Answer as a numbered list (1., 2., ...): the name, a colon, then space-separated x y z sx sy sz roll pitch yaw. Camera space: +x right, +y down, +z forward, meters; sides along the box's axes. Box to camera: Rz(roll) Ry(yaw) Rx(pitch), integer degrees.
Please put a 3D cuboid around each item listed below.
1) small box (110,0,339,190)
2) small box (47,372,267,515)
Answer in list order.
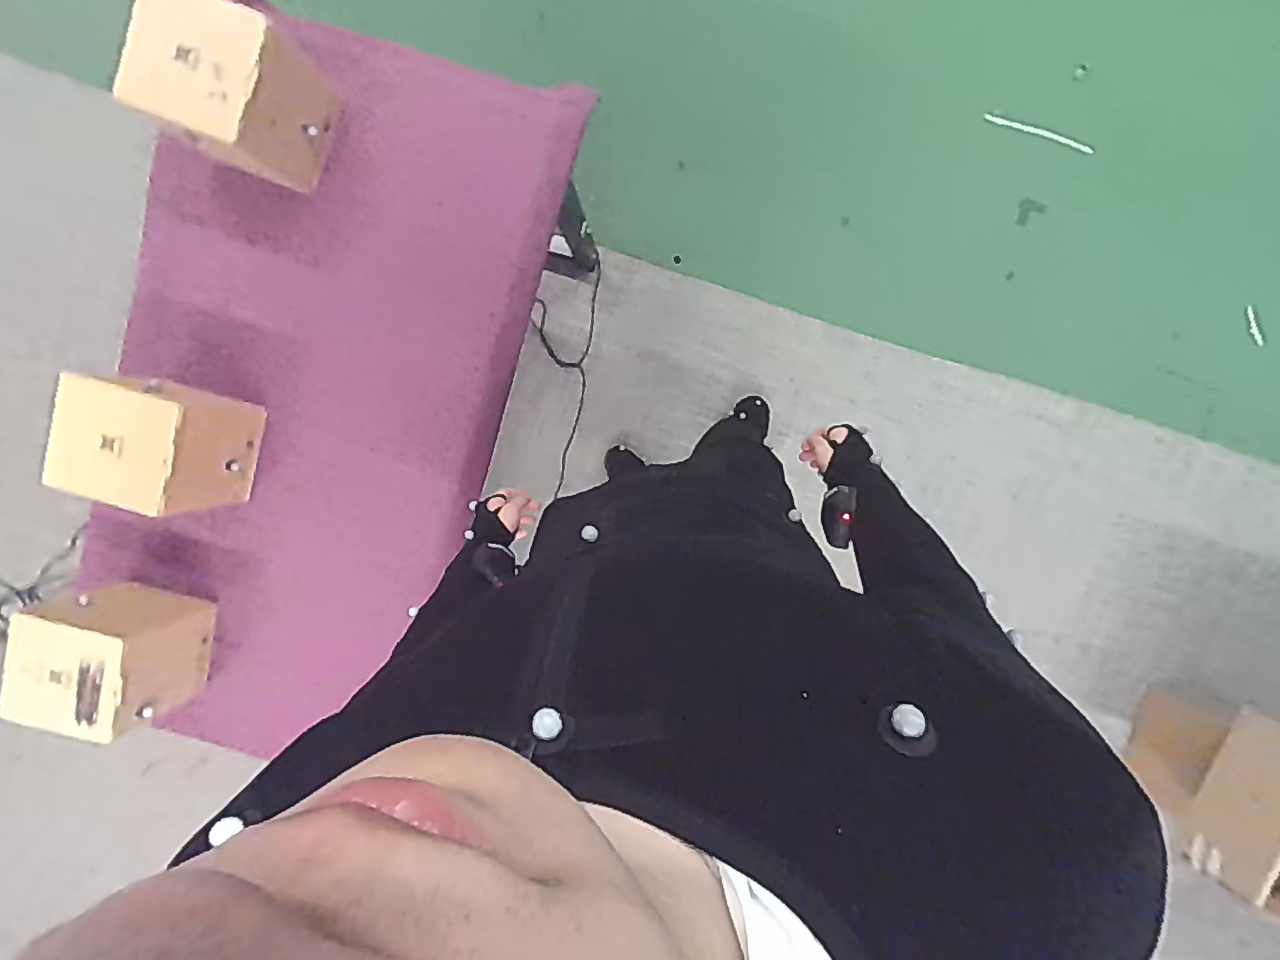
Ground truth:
1. small box: -0.579 -0.551 0.775 0.179 0.176 0.168 21 97 0
2. small box: -0.732 -0.057 0.836 0.179 0.176 0.168 16 96 0
